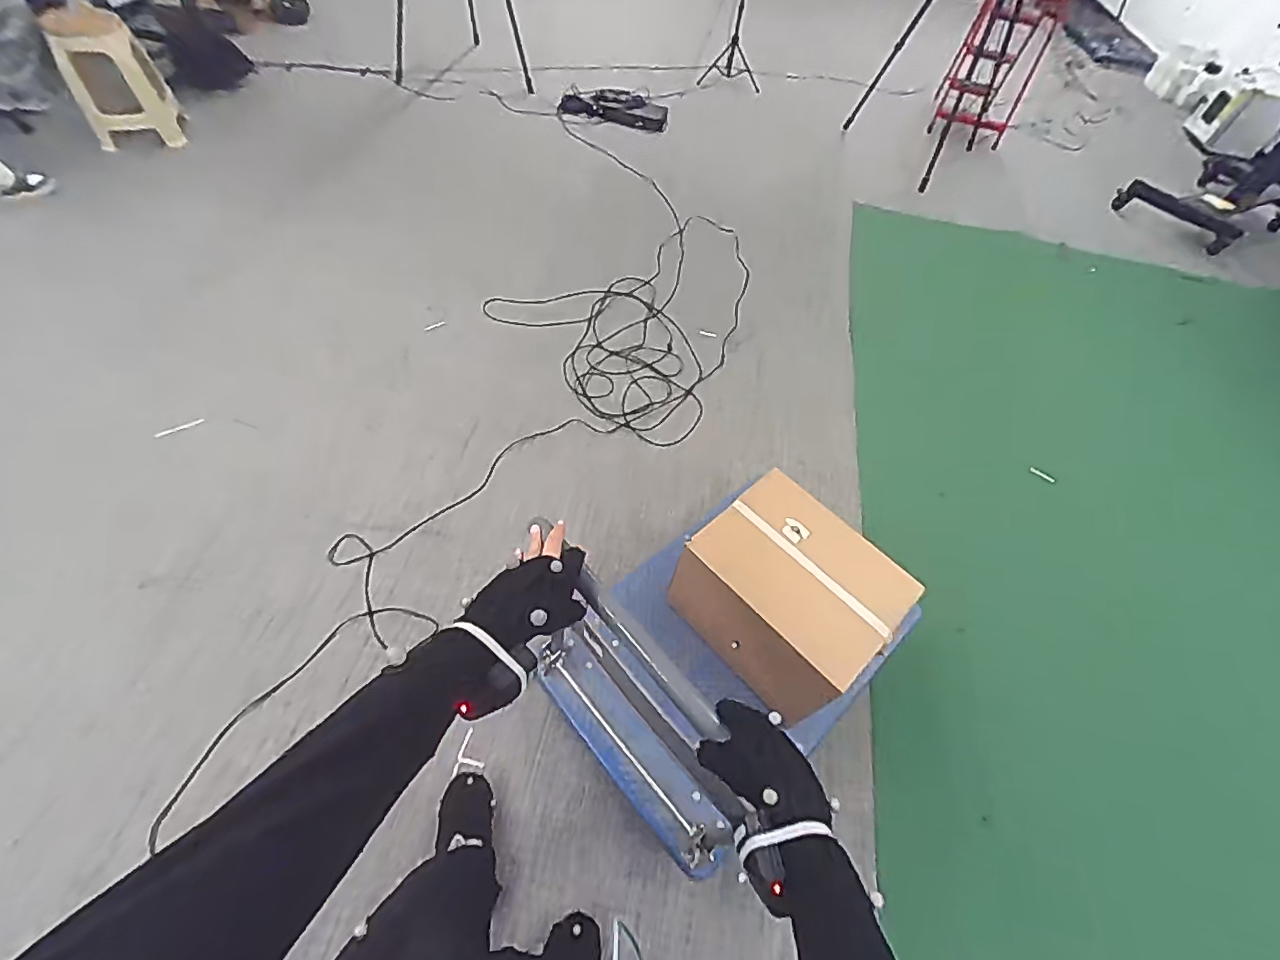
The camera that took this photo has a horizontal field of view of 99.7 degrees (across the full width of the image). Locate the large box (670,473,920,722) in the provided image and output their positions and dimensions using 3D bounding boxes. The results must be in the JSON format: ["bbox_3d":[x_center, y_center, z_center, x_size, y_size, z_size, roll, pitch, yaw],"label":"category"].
[{"bbox_3d":[0.327,0.270,1.245,0.320,0.320,0.408,-35,65,-27],"label":"large box"}]
